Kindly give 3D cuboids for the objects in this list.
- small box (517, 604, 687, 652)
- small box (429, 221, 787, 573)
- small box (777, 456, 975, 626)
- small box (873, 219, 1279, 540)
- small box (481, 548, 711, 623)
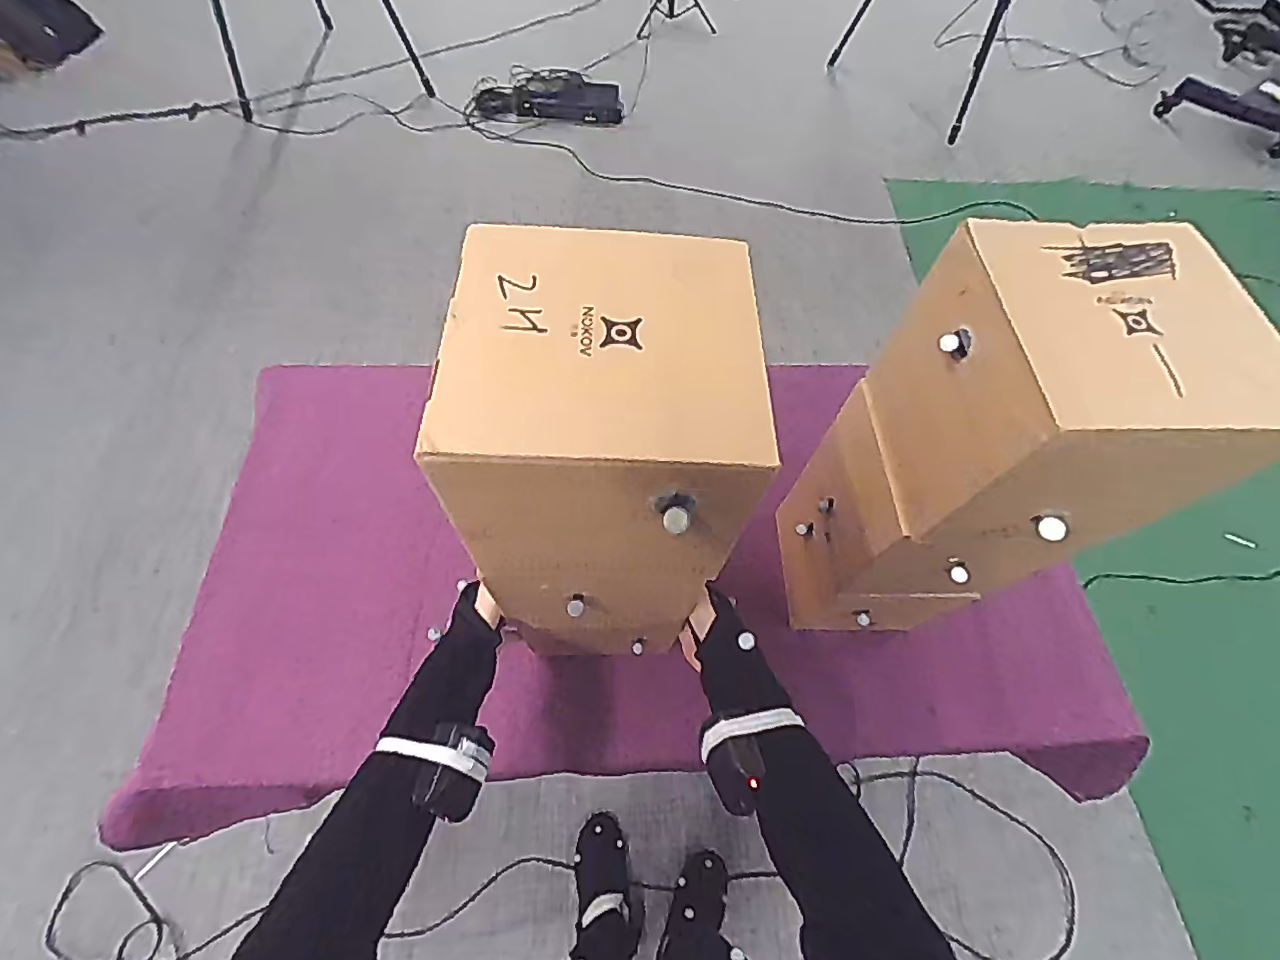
[{"bbox_3d":[-0.044,0.109,0.659,0.179,0.176,0.168,1,62,-4],"label":"small box"},{"bbox_3d":[-0.019,-0.043,0.367,0.179,0.176,0.168,3,60,-4],"label":"small box"},{"bbox_3d":[0.288,0.087,0.704,0.168,0.176,0.179,1,61,-3],"label":"small box"},{"bbox_3d":[0.303,-0.068,0.413,0.168,0.176,0.179,0,62,-2],"label":"small box"},{"bbox_3d":[-0.036,0.034,0.512,0.179,0.176,0.168,1,62,-4],"label":"small box"}]
